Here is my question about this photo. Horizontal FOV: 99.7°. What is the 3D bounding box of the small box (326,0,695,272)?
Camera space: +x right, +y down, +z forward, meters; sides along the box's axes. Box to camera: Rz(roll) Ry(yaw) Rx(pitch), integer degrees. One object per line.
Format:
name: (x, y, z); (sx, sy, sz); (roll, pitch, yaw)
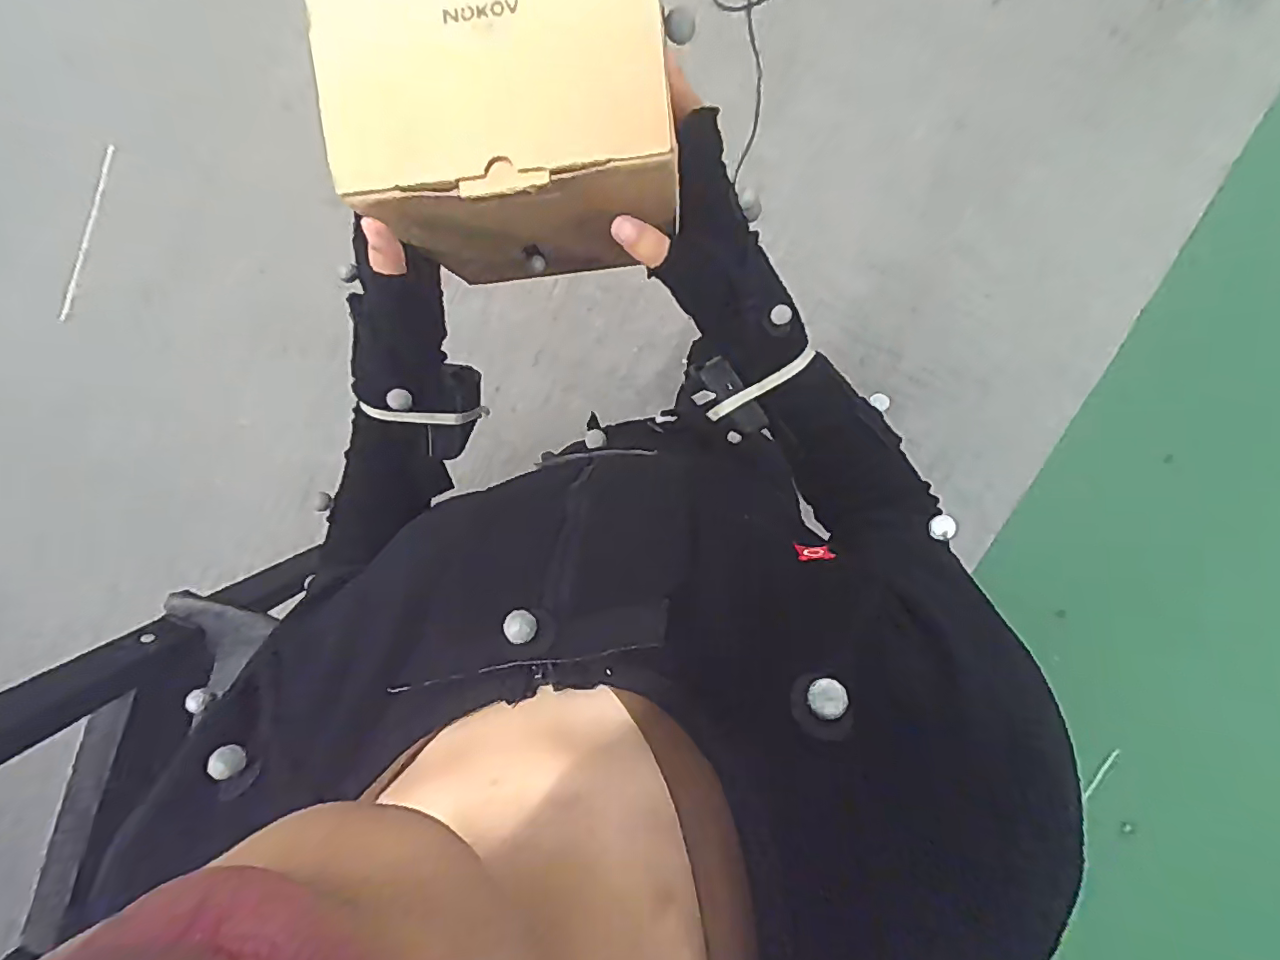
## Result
small box: (-0.059, -0.242, 0.321); (0.168, 0.176, 0.179); (-5, 98, 4)
